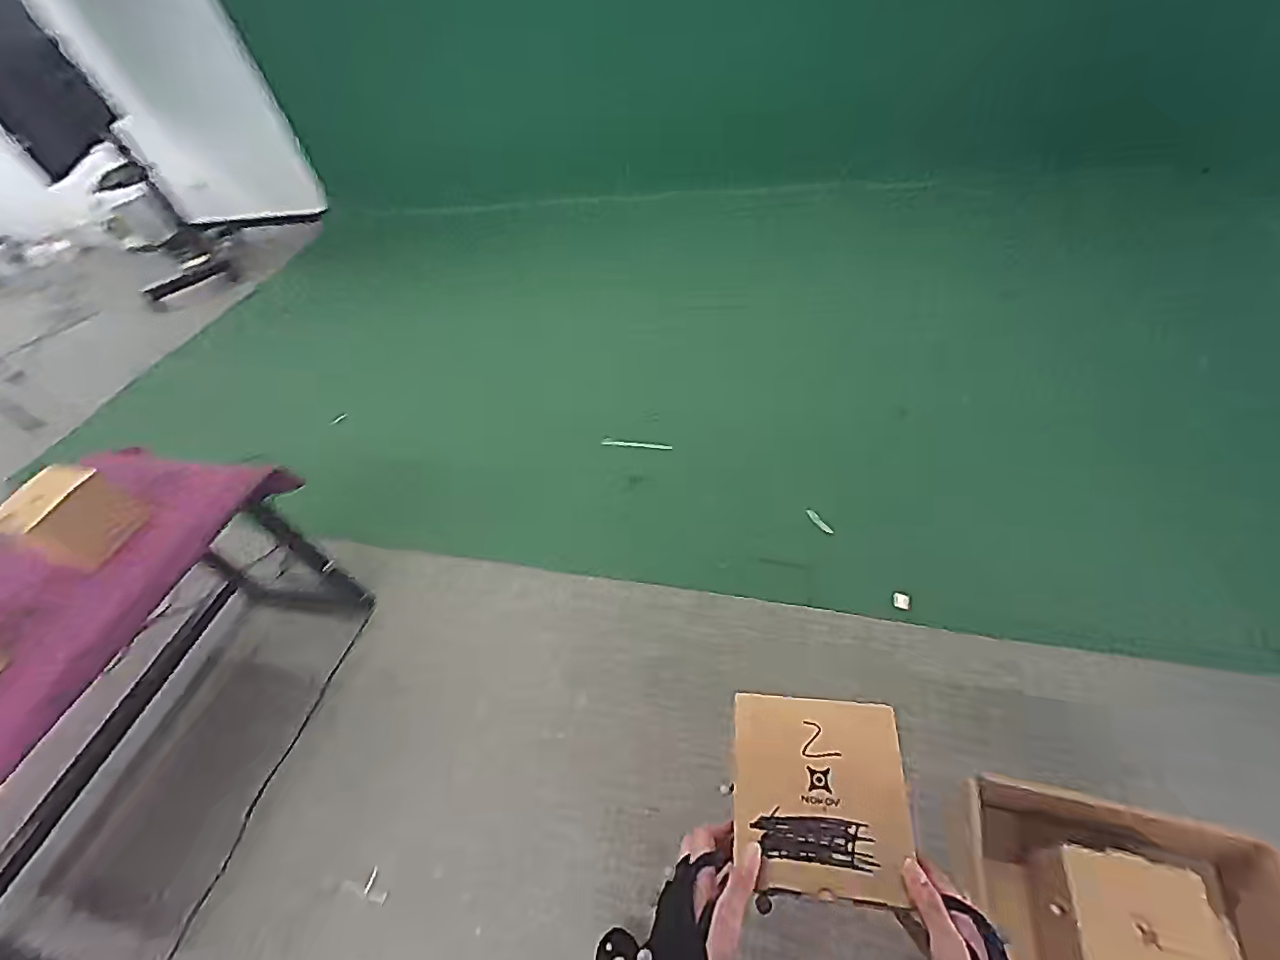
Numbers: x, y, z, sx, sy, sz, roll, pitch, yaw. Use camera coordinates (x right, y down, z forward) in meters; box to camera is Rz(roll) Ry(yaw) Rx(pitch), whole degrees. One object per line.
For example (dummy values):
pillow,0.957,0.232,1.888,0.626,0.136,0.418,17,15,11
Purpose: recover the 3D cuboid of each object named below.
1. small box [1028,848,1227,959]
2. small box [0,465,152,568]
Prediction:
small box,0.692,0.664,0.779,0.168,0.176,0.179,5,52,17
small box,-1.358,0.088,1.320,0.168,0.176,0.179,5,51,16
